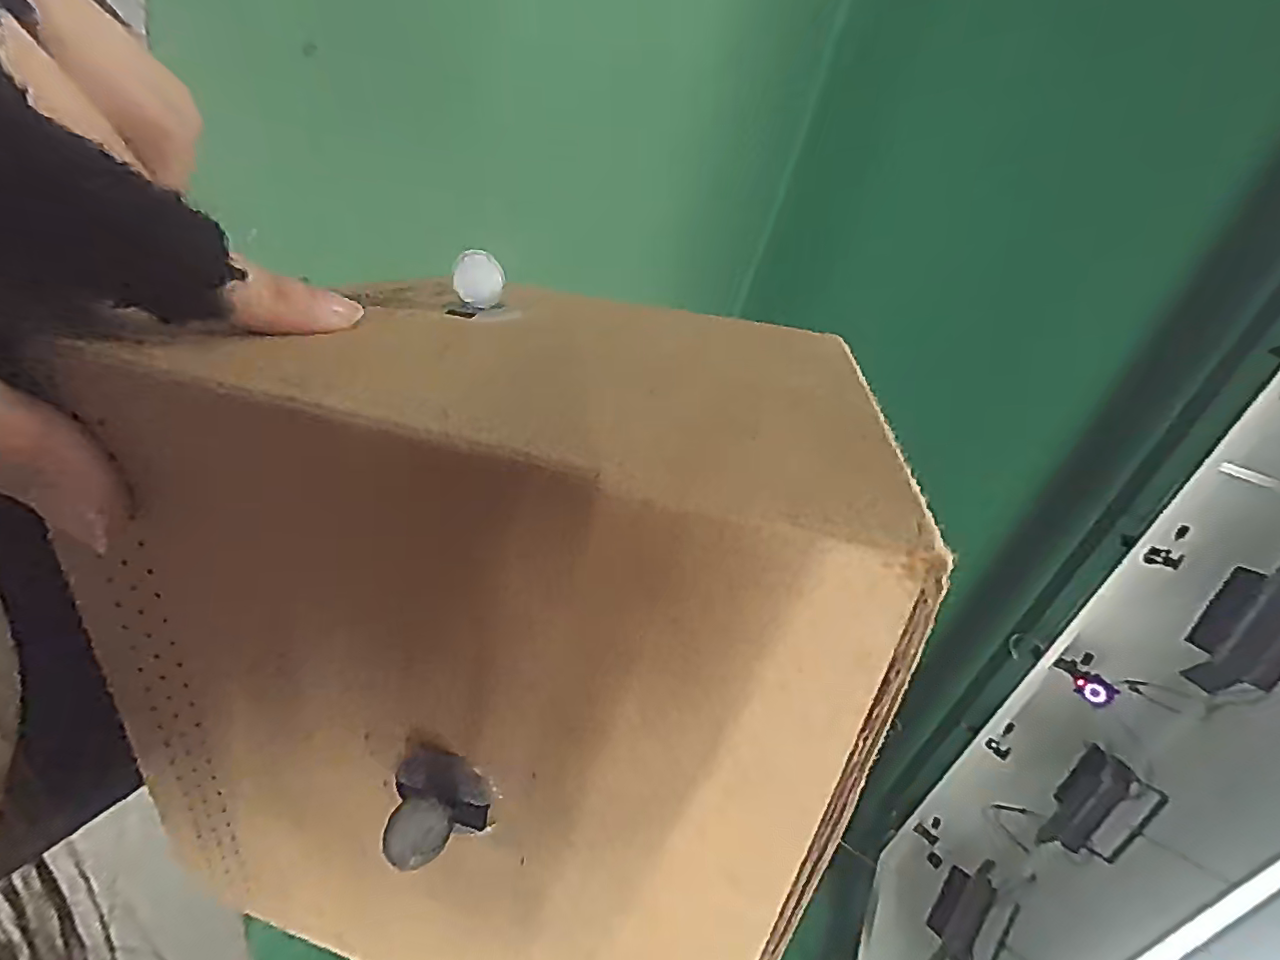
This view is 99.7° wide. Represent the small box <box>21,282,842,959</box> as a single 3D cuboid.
[{"bbox_3d":[-0.041,0.035,0.198,0.168,0.176,0.179,-58,158,-63],"label":"small box"}]
